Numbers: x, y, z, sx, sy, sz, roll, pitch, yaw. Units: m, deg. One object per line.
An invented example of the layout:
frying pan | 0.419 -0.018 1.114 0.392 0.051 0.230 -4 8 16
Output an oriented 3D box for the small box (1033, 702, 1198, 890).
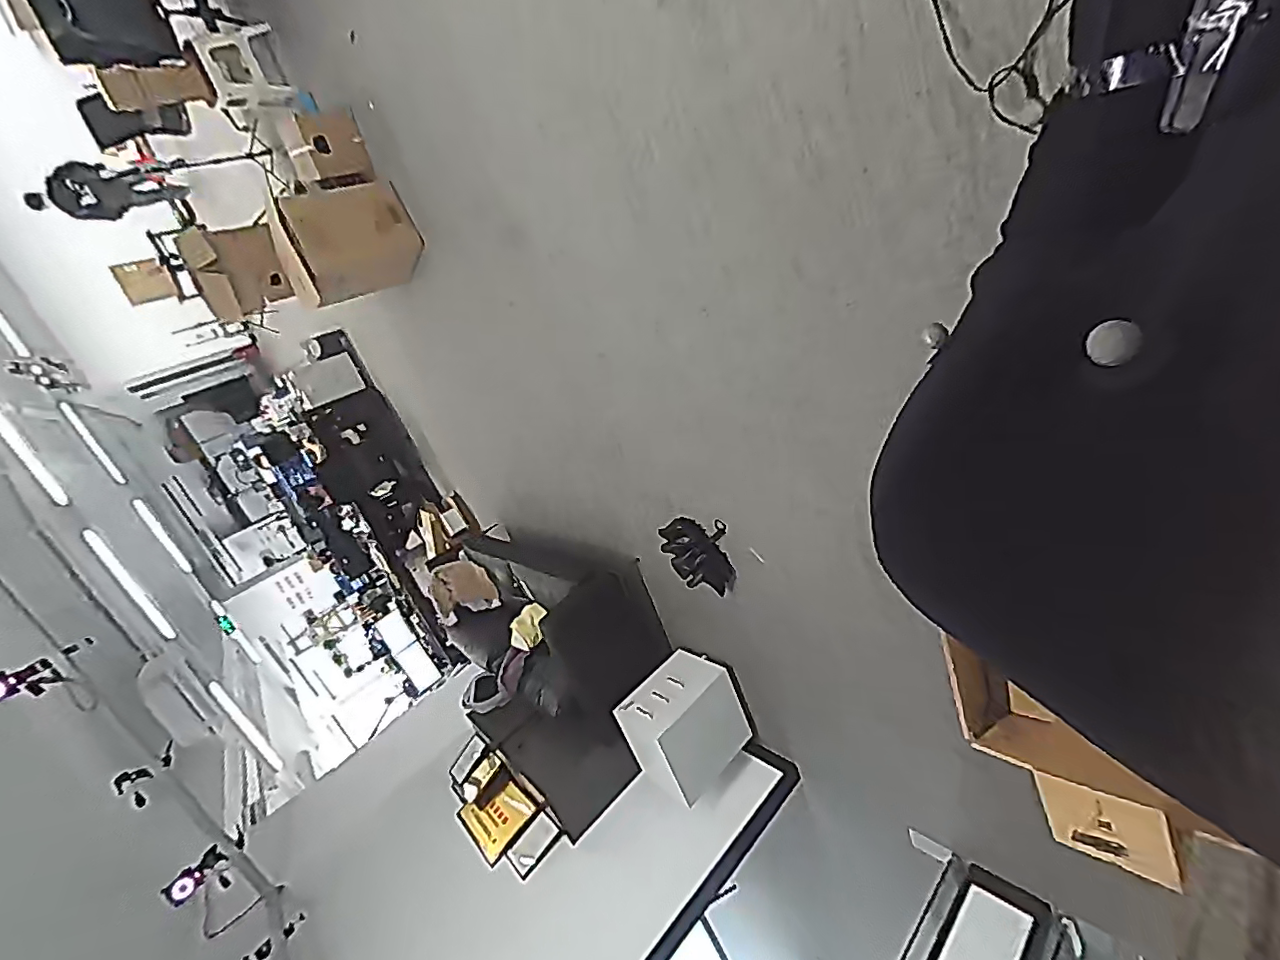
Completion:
small box | 0.797 0.513 0.905 0.168 0.176 0.179 -4 115 54
